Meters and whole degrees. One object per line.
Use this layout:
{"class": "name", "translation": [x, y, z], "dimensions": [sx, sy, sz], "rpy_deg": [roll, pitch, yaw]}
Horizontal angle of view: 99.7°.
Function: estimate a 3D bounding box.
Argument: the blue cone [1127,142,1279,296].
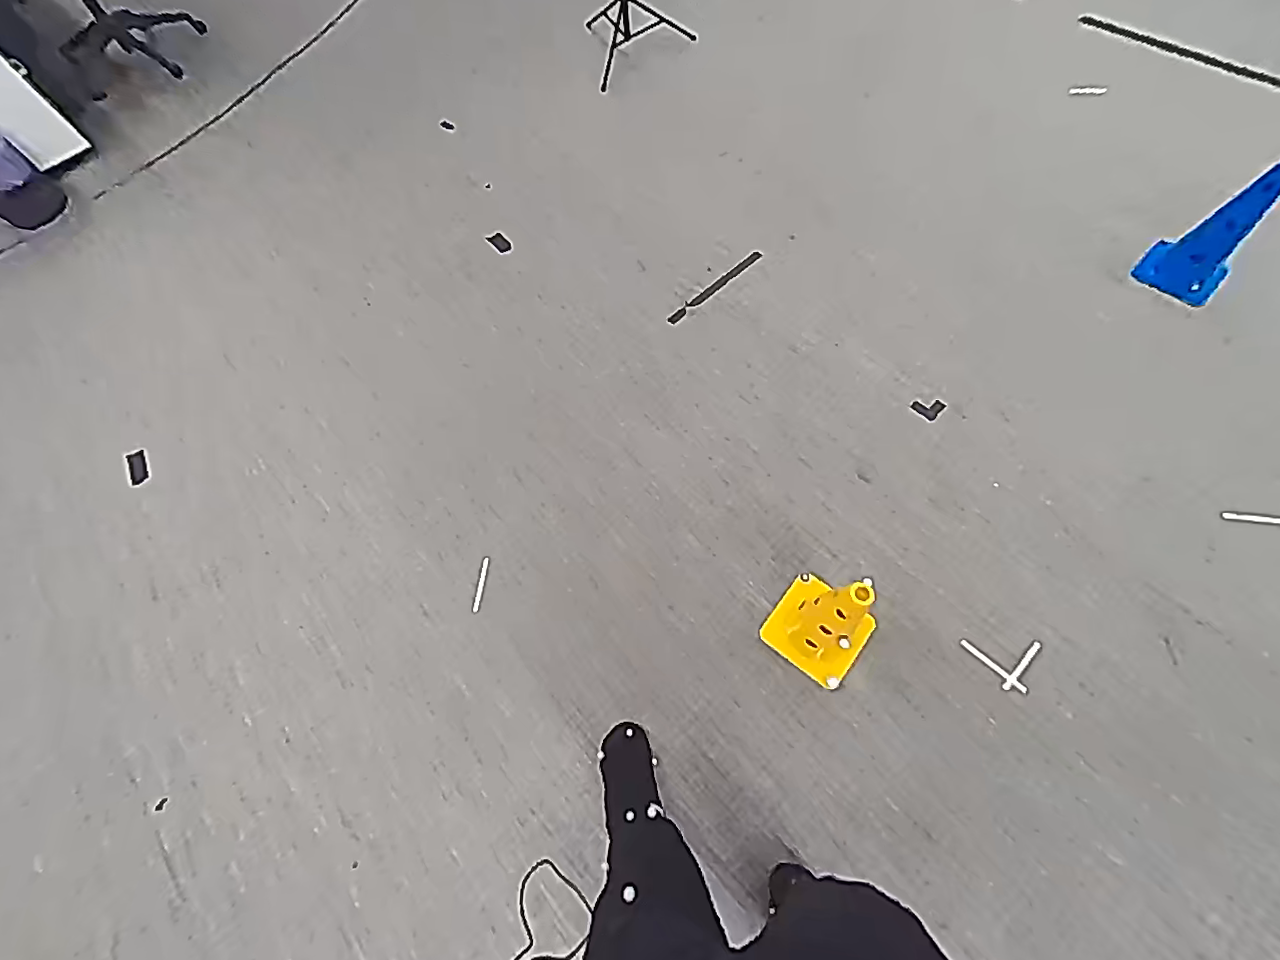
{"class": "blue cone", "translation": [1.544, -0.698, 1.436], "dimensions": [0.193, 0.380, 0.192], "rpy_deg": [-42, 67, -14]}
